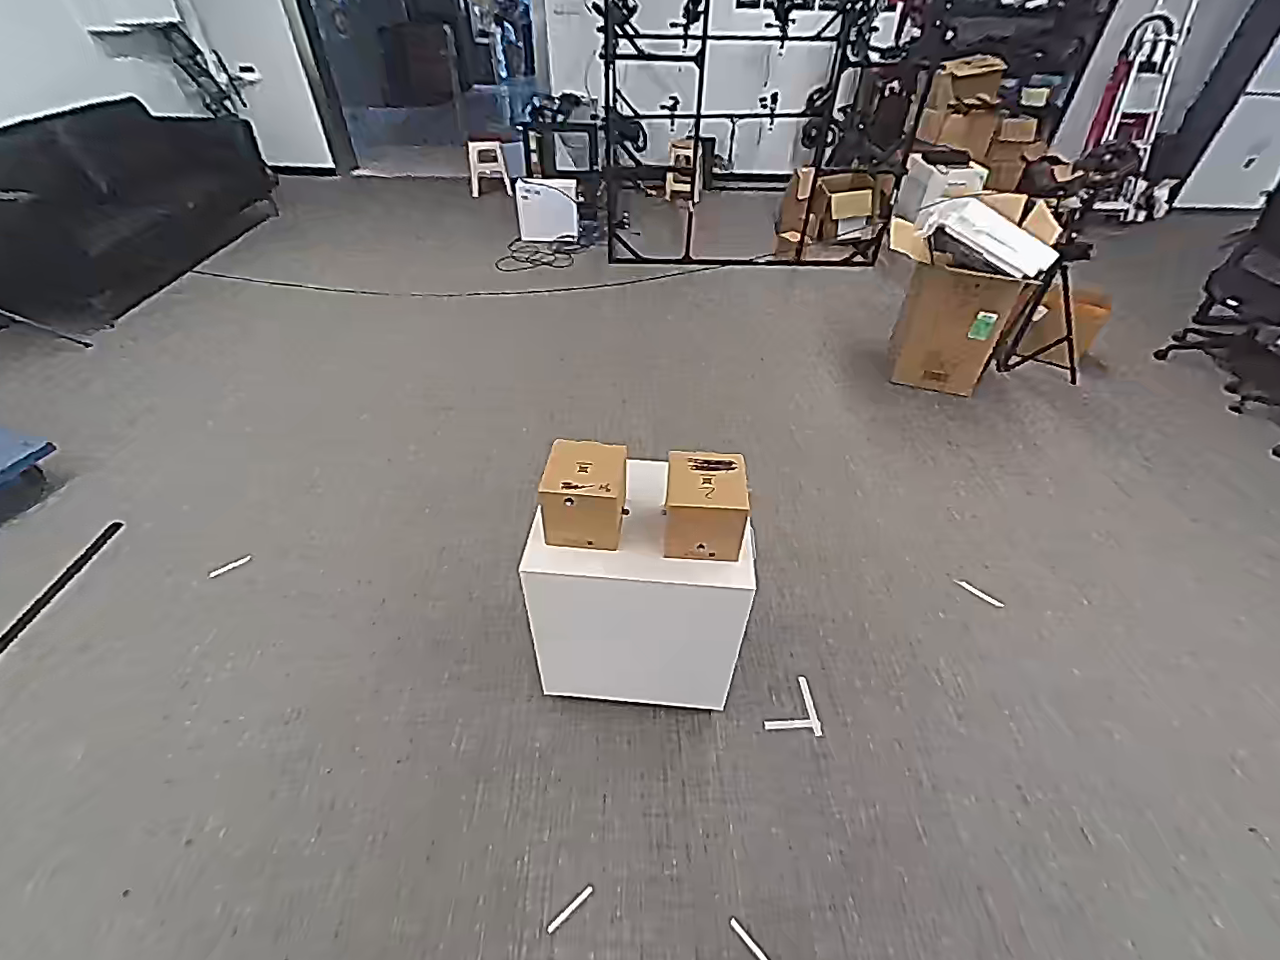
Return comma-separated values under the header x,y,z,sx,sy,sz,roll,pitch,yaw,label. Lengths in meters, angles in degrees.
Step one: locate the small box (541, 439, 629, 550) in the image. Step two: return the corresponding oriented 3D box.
x,y,z,sx,sy,sz,roll,pitch,yaw,label
-0.118,0.030,1.212,0.168,0.176,0.179,5,41,3,small box
